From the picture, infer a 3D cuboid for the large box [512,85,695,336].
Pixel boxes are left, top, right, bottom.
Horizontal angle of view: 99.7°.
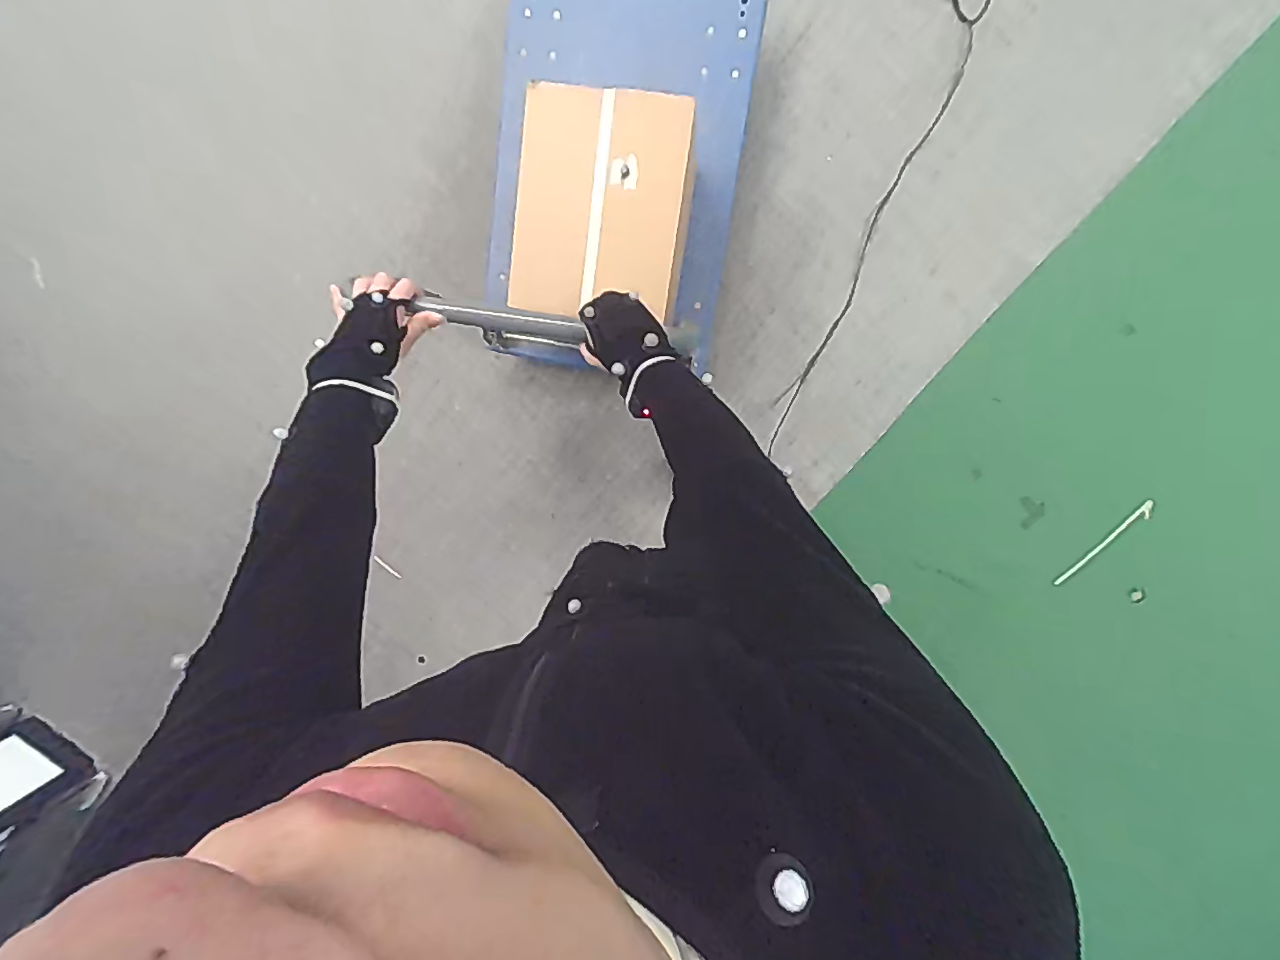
[{"bbox_3d":[-0.063,-0.546,1.178,0.320,0.320,0.408,10,101,4],"label":"large box"}]
